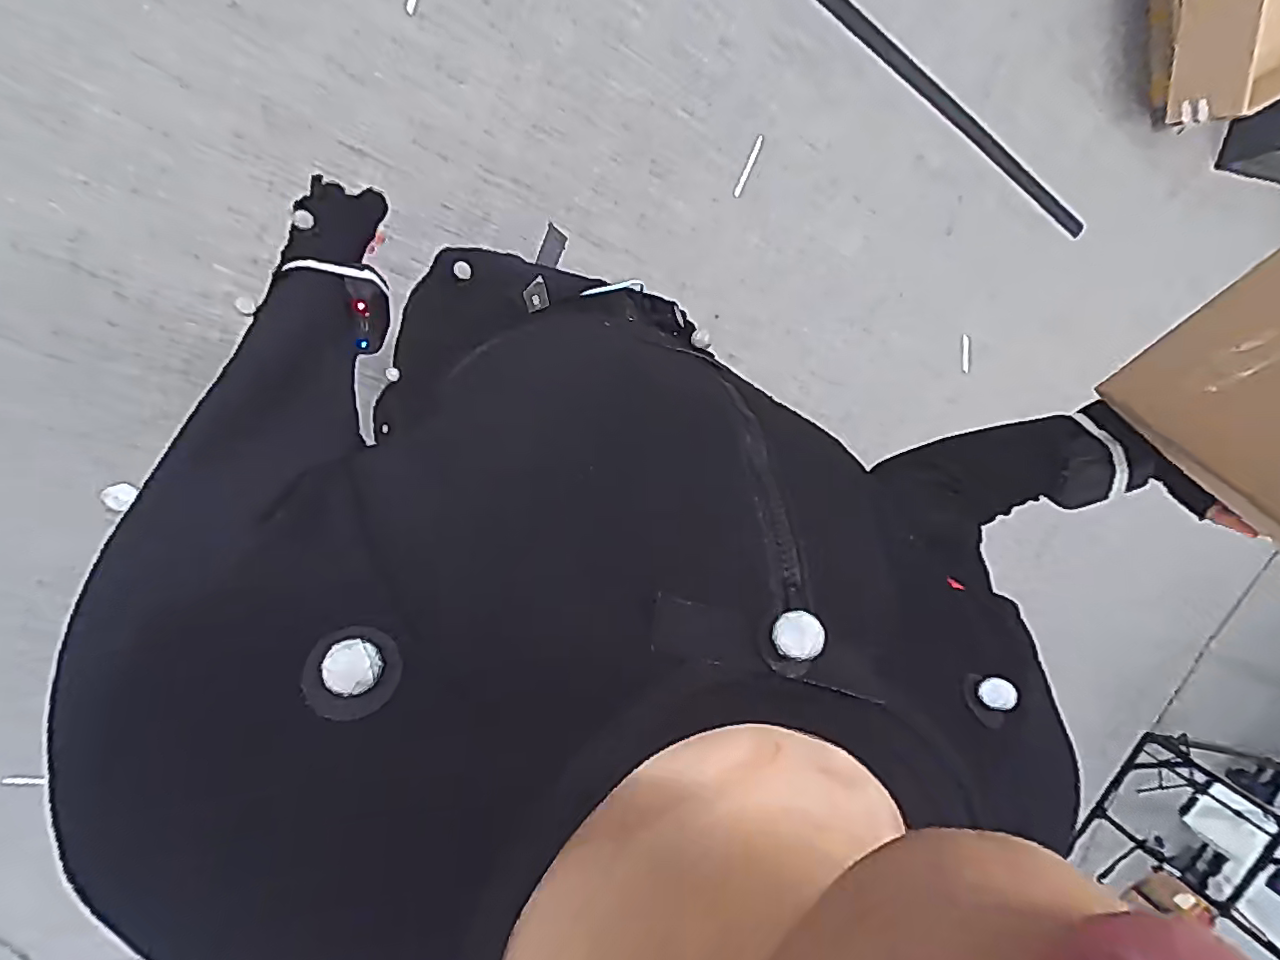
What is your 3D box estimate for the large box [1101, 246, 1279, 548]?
[{"bbox_3d":[0.543,0.010,0.226,0.320,0.408,0.320,34,124,-13],"label":"large box"}]
